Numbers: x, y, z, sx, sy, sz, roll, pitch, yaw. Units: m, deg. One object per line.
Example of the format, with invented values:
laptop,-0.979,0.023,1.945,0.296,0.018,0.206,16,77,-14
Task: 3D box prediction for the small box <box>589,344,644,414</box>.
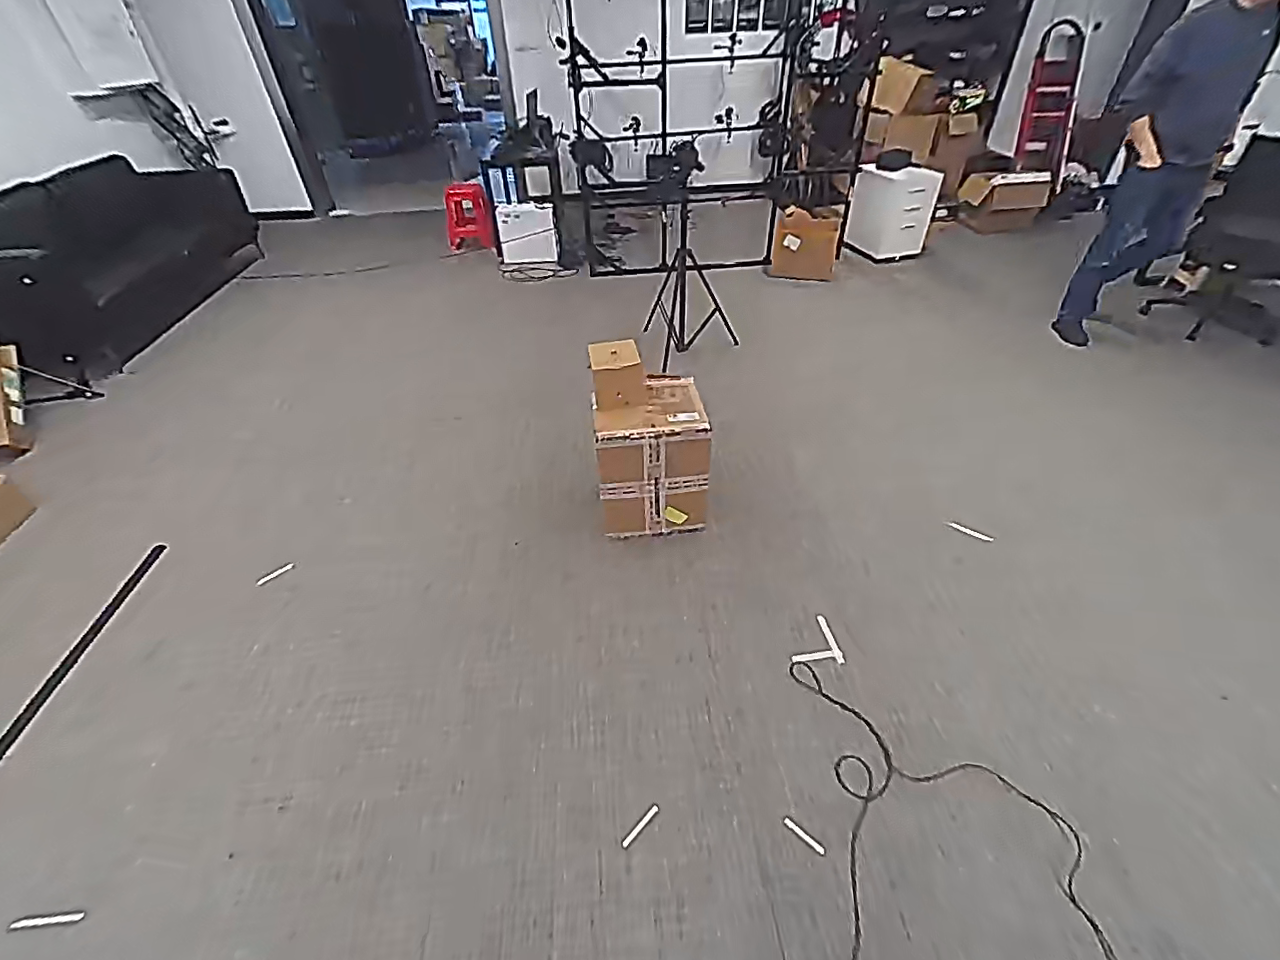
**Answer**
small box,-0.082,-0.355,1.900,0.168,0.176,0.179,-9,43,-4
